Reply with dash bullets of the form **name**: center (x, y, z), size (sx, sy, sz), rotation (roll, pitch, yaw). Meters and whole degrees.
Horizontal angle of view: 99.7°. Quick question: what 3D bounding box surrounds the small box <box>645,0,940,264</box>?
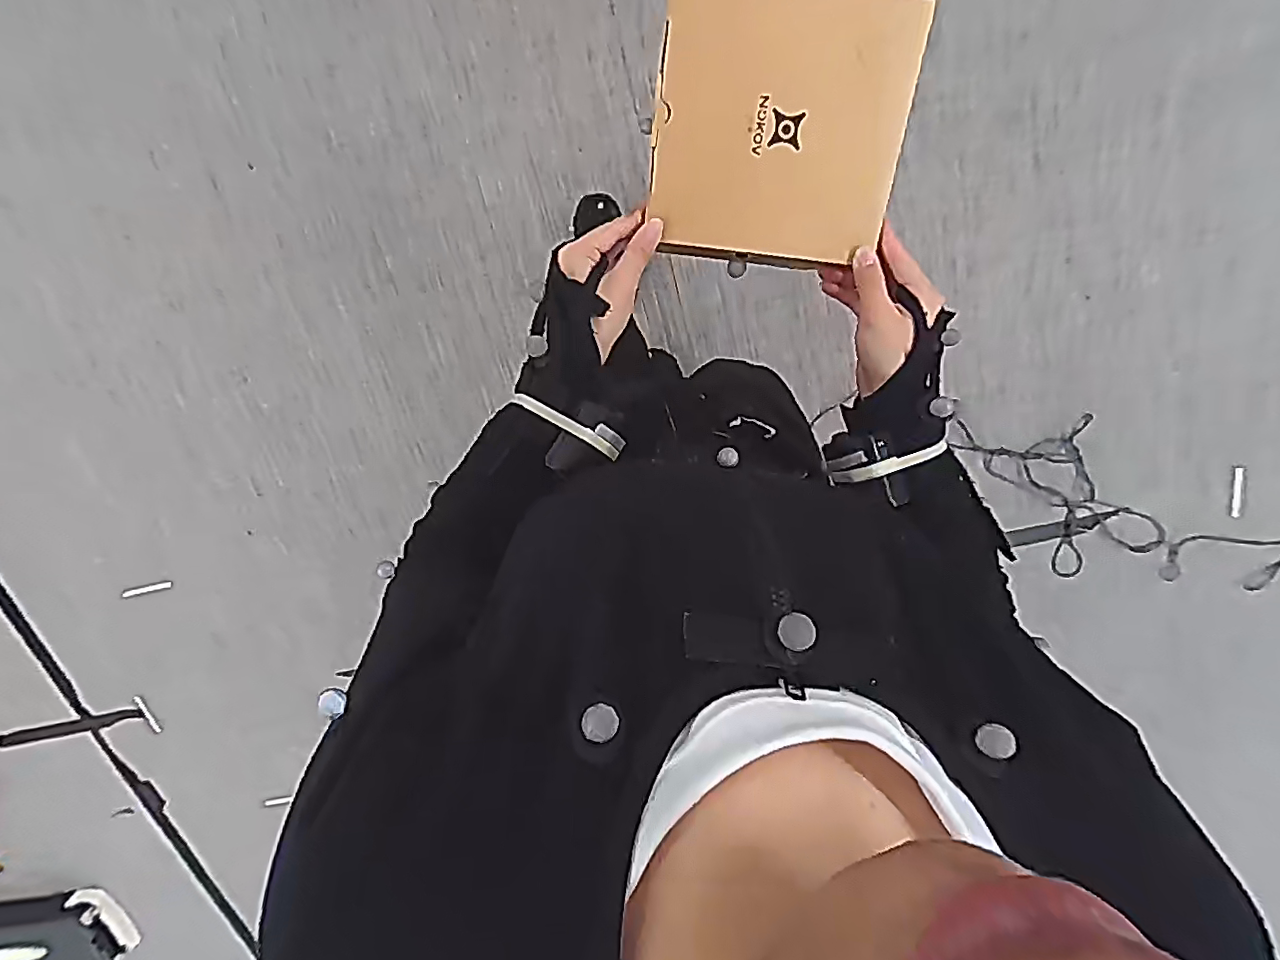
- **small box**: center (0.100, -0.278, 0.449), size (0.179, 0.176, 0.168), rotation (6, 111, -2)
